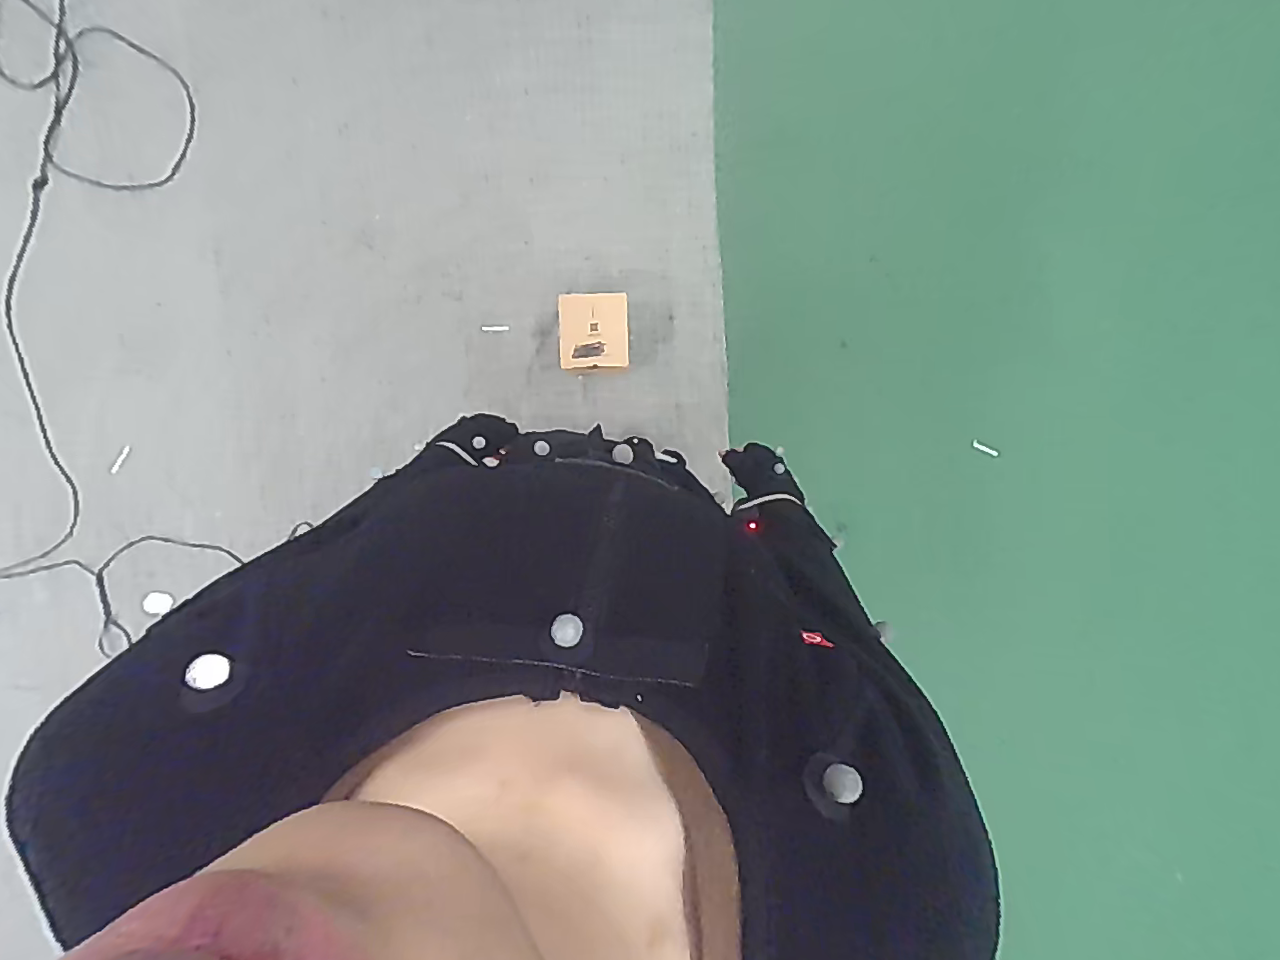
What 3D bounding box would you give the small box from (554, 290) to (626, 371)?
[{"bbox_3d":[-0.119,-0.368,1.357,0.168,0.176,0.179,-1,95,0],"label":"small box"}]
